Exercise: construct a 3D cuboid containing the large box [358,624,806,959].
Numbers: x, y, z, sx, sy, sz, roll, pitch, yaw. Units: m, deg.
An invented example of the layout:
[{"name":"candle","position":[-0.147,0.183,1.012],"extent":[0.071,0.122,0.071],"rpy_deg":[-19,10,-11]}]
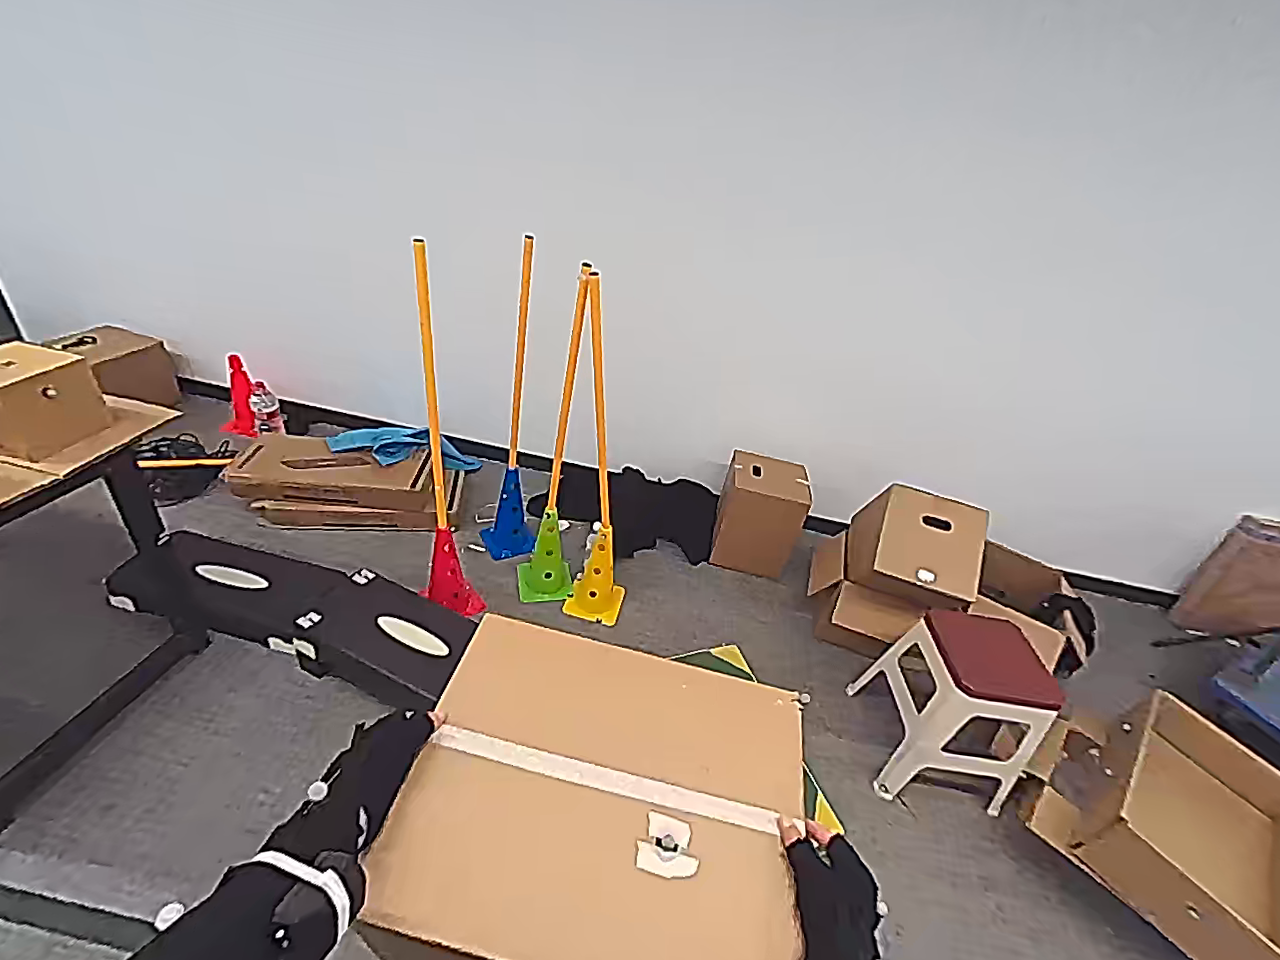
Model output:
[{"name":"large box","position":[-0.050,0.433,0.663],"extent":[0.408,0.320,0.320],"rpy_deg":[13,40,3]}]
